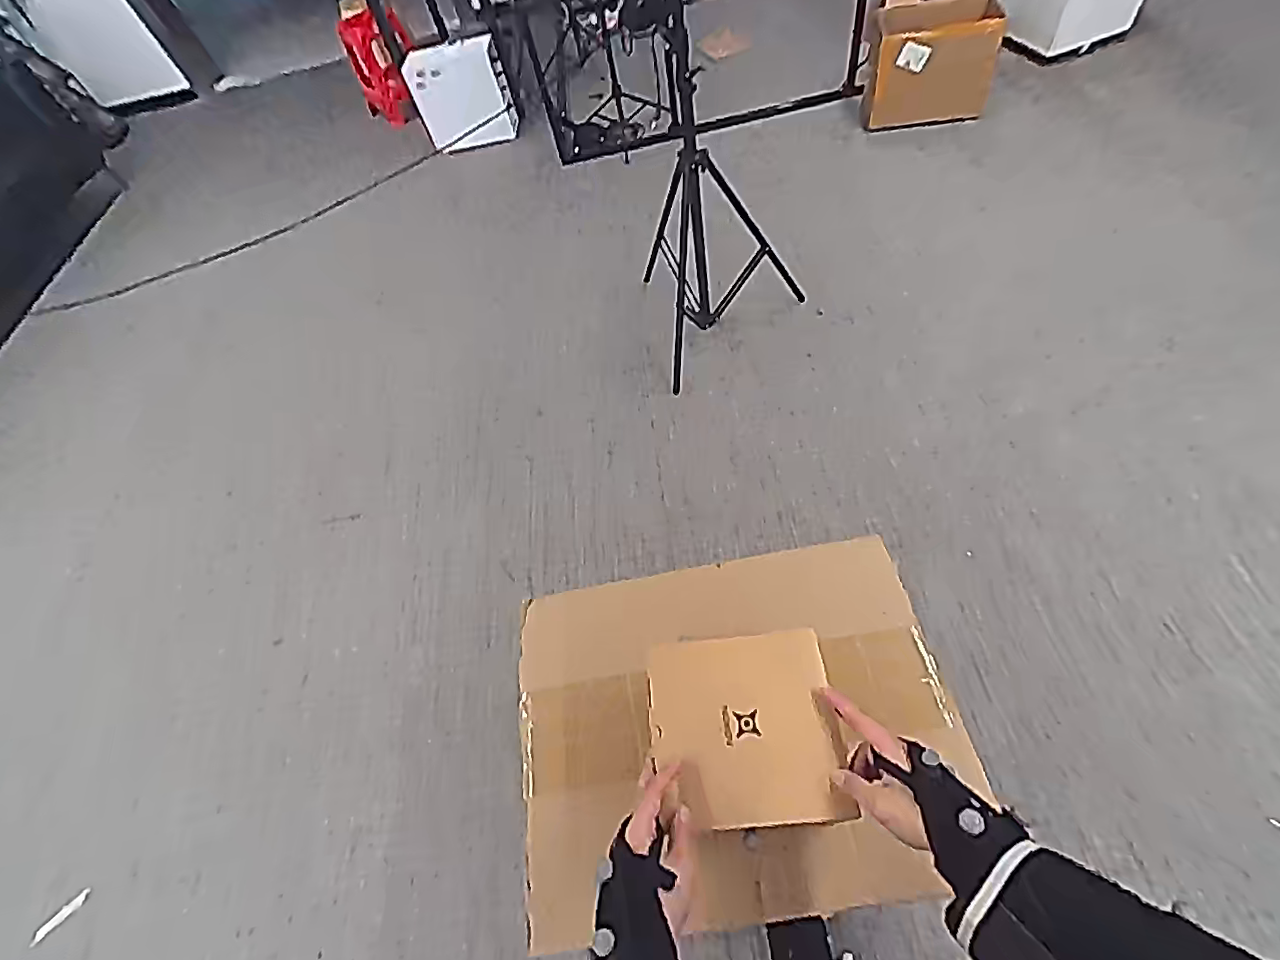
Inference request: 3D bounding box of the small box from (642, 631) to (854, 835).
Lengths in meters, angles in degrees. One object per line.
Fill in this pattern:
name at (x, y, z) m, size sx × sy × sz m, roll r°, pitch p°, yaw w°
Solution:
small box at (0.106, 0.272, 0.575) m, size 0.179 × 0.176 × 0.168 m, roll -9°, pitch 57°, yaw 7°
